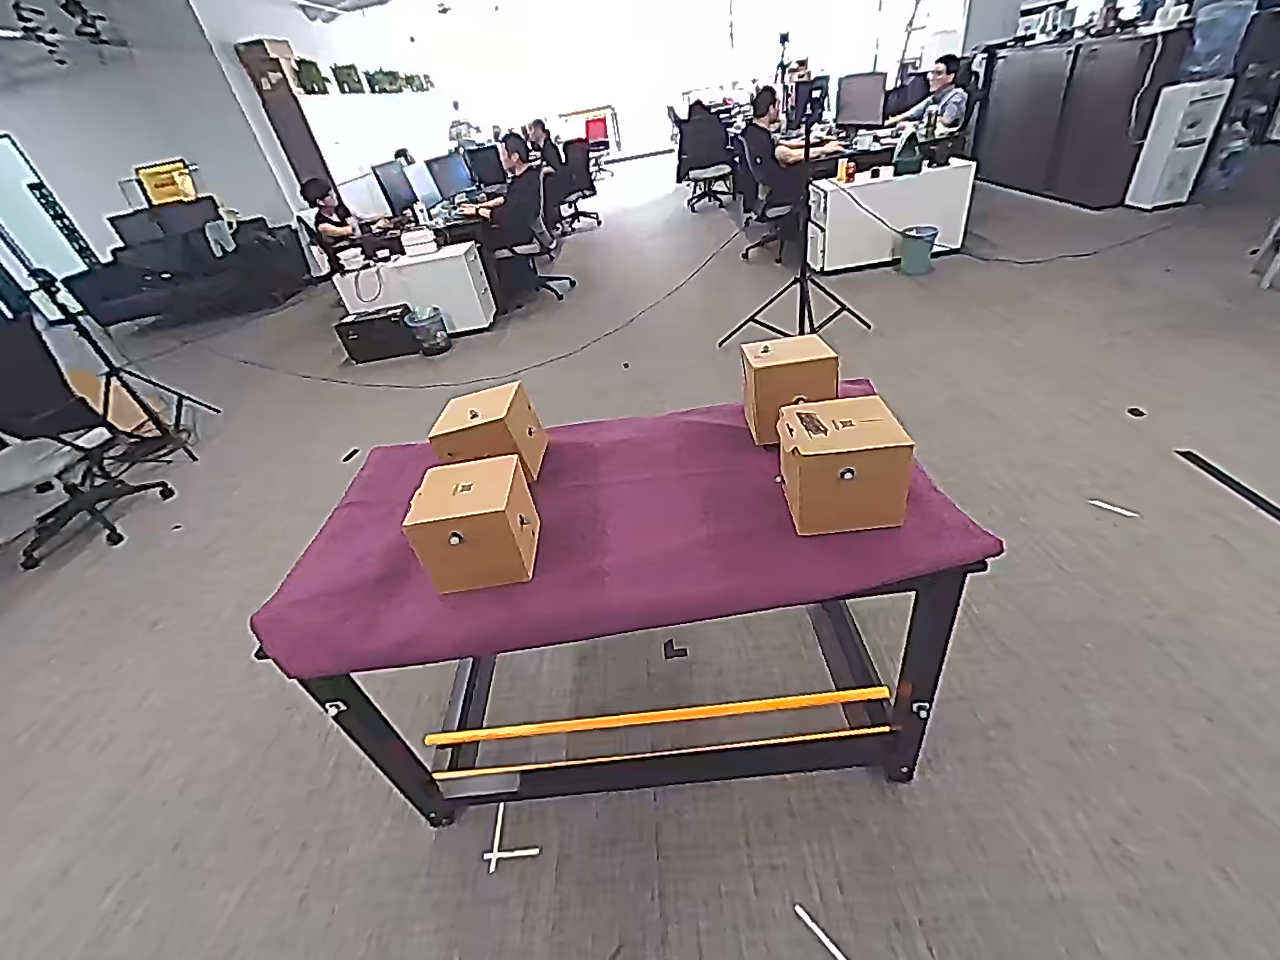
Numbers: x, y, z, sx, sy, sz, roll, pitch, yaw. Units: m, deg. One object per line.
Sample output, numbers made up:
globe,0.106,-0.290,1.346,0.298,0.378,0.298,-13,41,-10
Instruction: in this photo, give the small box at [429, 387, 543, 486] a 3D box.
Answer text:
small box,-0.326,-0.086,1.192,0.179,0.168,0.176,-13,34,11

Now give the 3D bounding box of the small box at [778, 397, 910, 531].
small box,0.345,-0.025,0.944,0.179,0.176,0.168,-7,35,6

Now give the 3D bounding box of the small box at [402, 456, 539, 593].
small box,-0.291,0.082,0.976,0.179,0.176,0.168,-9,36,3
